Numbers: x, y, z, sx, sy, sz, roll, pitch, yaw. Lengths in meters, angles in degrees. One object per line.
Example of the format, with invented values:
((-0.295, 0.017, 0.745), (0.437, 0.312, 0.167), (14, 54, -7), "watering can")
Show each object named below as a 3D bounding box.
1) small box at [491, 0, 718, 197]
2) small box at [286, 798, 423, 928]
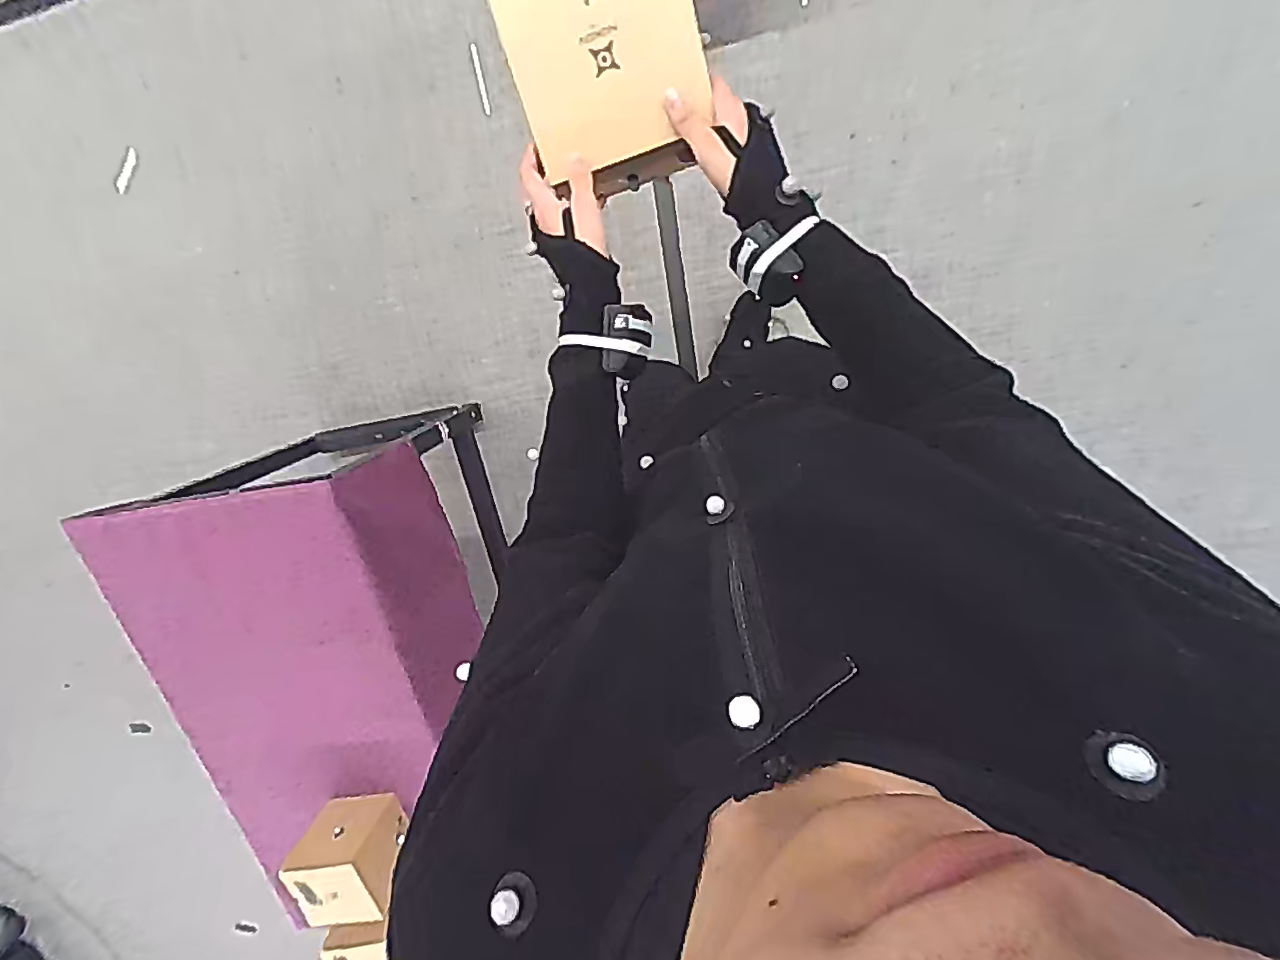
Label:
((-0.027, -0.398, 0.534), (0.168, 0.176, 0.179), (-15, 109, 8), "small box")
((-0.618, 0.838, 1.191), (0.179, 0.176, 0.168), (-13, 108, 10), "small box")
